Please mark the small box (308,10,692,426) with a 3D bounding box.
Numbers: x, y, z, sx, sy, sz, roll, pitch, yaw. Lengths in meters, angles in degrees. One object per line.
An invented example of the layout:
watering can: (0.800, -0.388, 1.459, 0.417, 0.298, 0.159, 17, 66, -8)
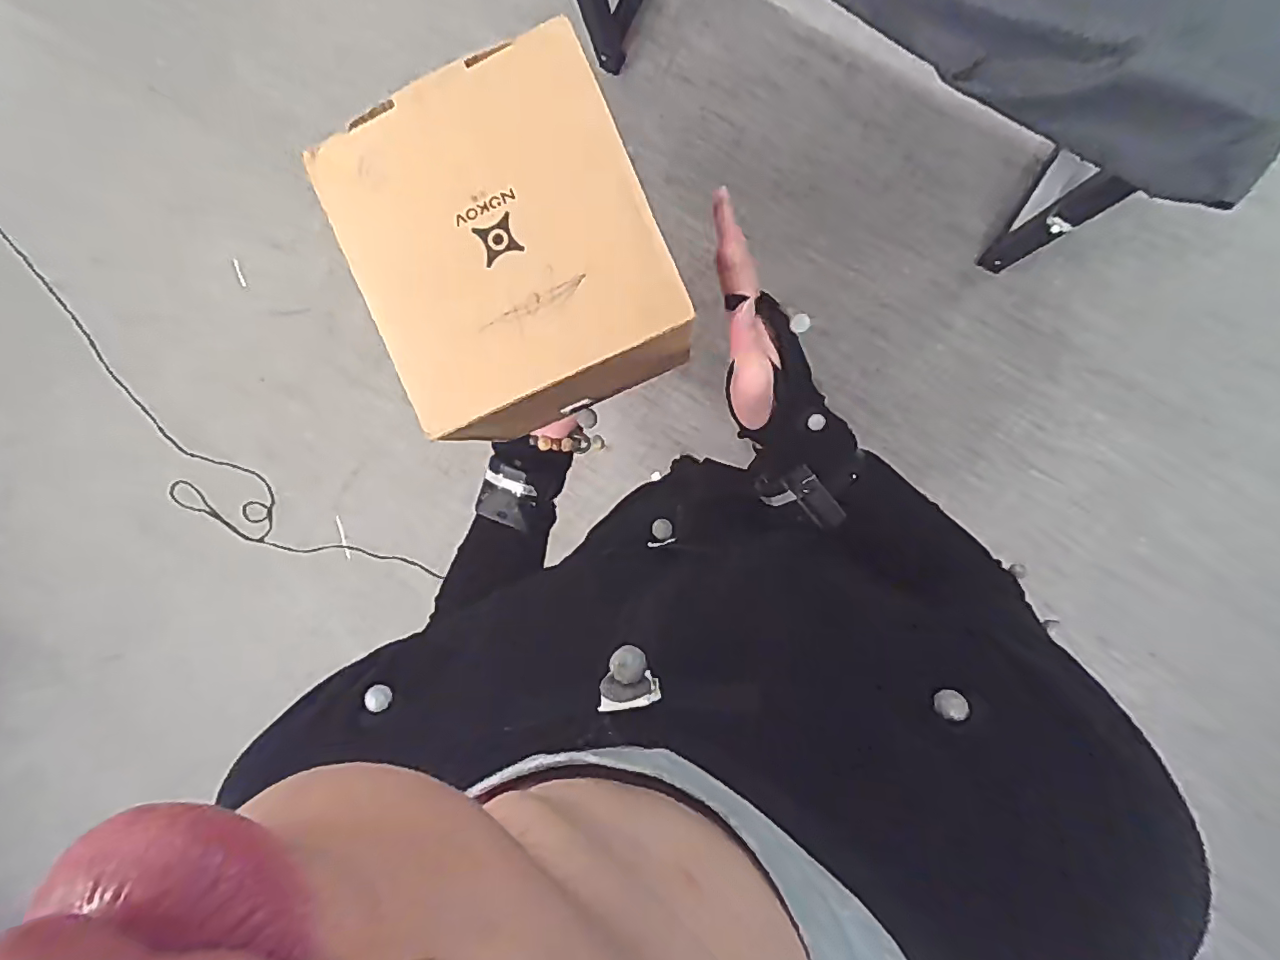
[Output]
small box: (-0.073, -0.146, 0.375, 0.168, 0.176, 0.179, -23, 93, 6)
